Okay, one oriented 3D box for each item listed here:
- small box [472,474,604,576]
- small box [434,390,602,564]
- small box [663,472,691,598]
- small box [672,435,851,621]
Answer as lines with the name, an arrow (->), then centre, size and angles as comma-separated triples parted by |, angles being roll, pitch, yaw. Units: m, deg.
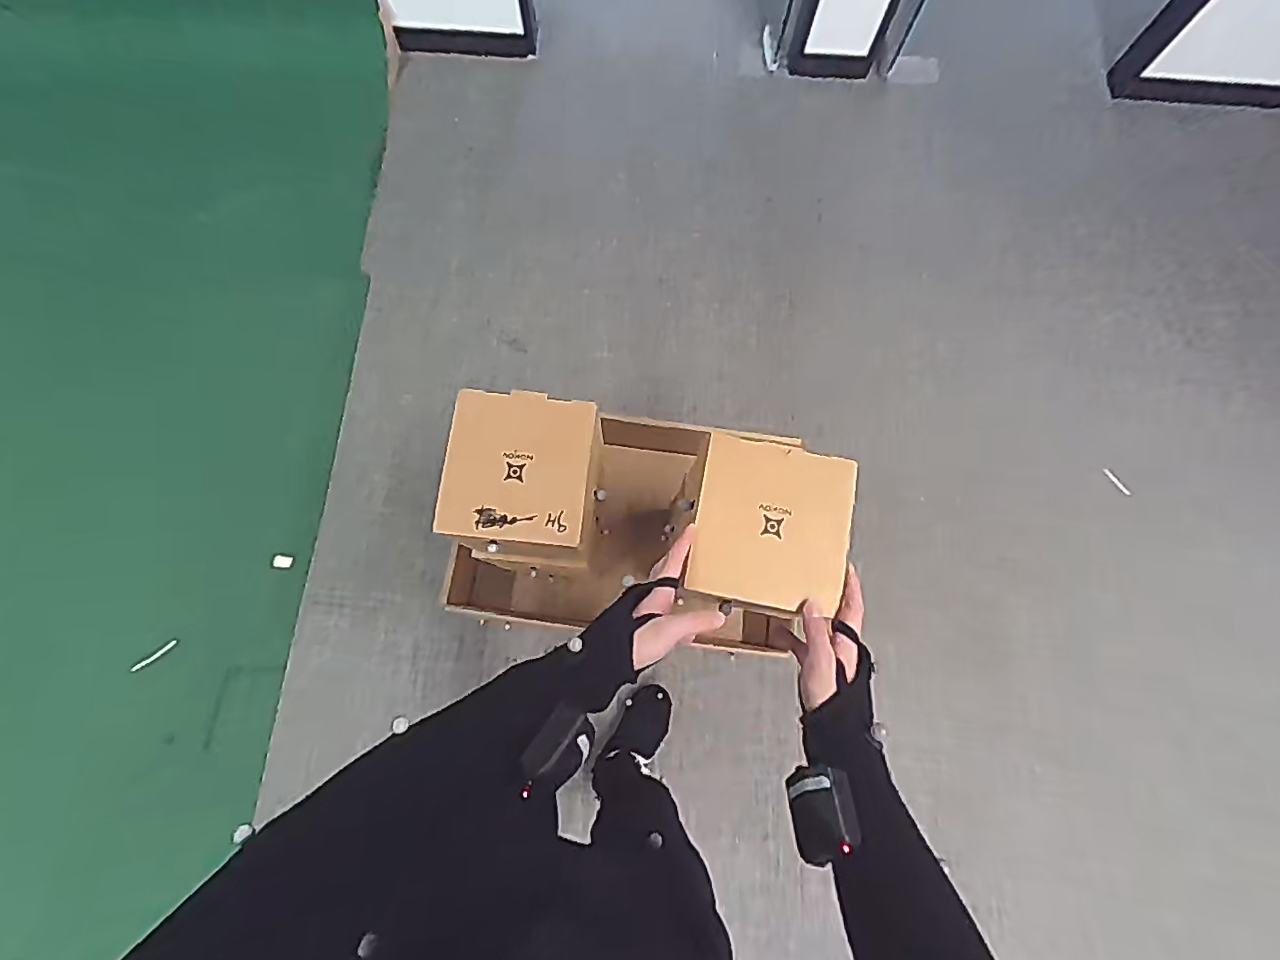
small box -> -0.148, 0.054, 0.854 | 0.168, 0.176, 0.179 | 7, 76, 0
small box -> -0.141, 0.005, 0.697 | 0.168, 0.176, 0.179 | 6, 75, 1
small box -> 0.130, 0.105, 0.850 | 0.168, 0.176, 0.179 | 10, 74, 2
small box -> 0.134, 0.067, 0.650 | 0.168, 0.176, 0.179 | 11, 74, 1
